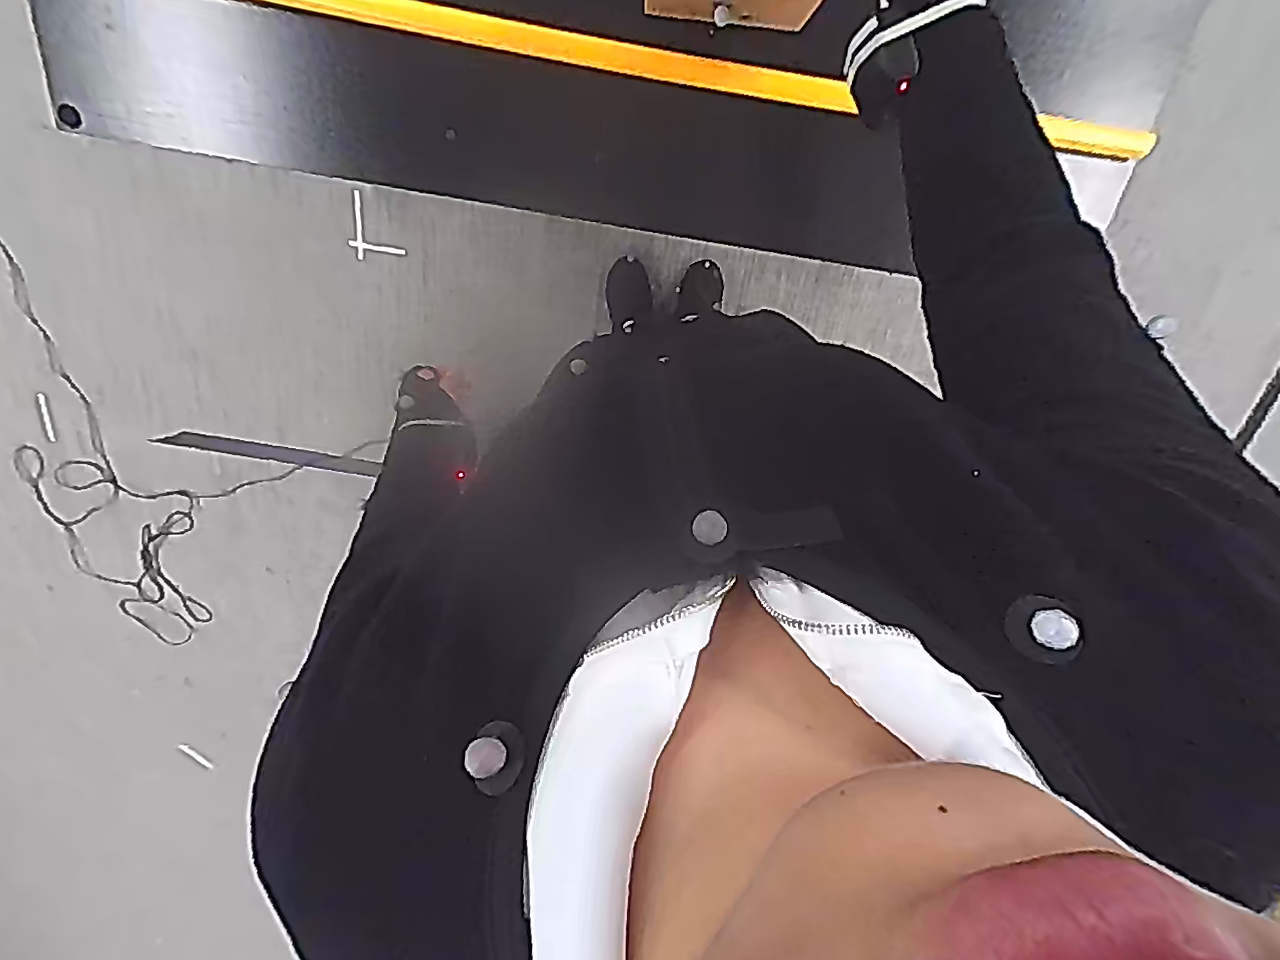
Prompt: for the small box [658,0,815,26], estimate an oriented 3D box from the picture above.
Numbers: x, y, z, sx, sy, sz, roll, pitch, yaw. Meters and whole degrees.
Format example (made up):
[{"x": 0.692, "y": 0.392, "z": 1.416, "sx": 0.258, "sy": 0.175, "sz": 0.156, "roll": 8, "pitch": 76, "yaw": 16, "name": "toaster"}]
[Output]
[{"x": 0.097, "y": -0.534, "z": 0.461, "sx": 0.168, "sy": 0.176, "sz": 0.179, "roll": 5, "pitch": 114, "yaw": -2, "name": "small box"}]
